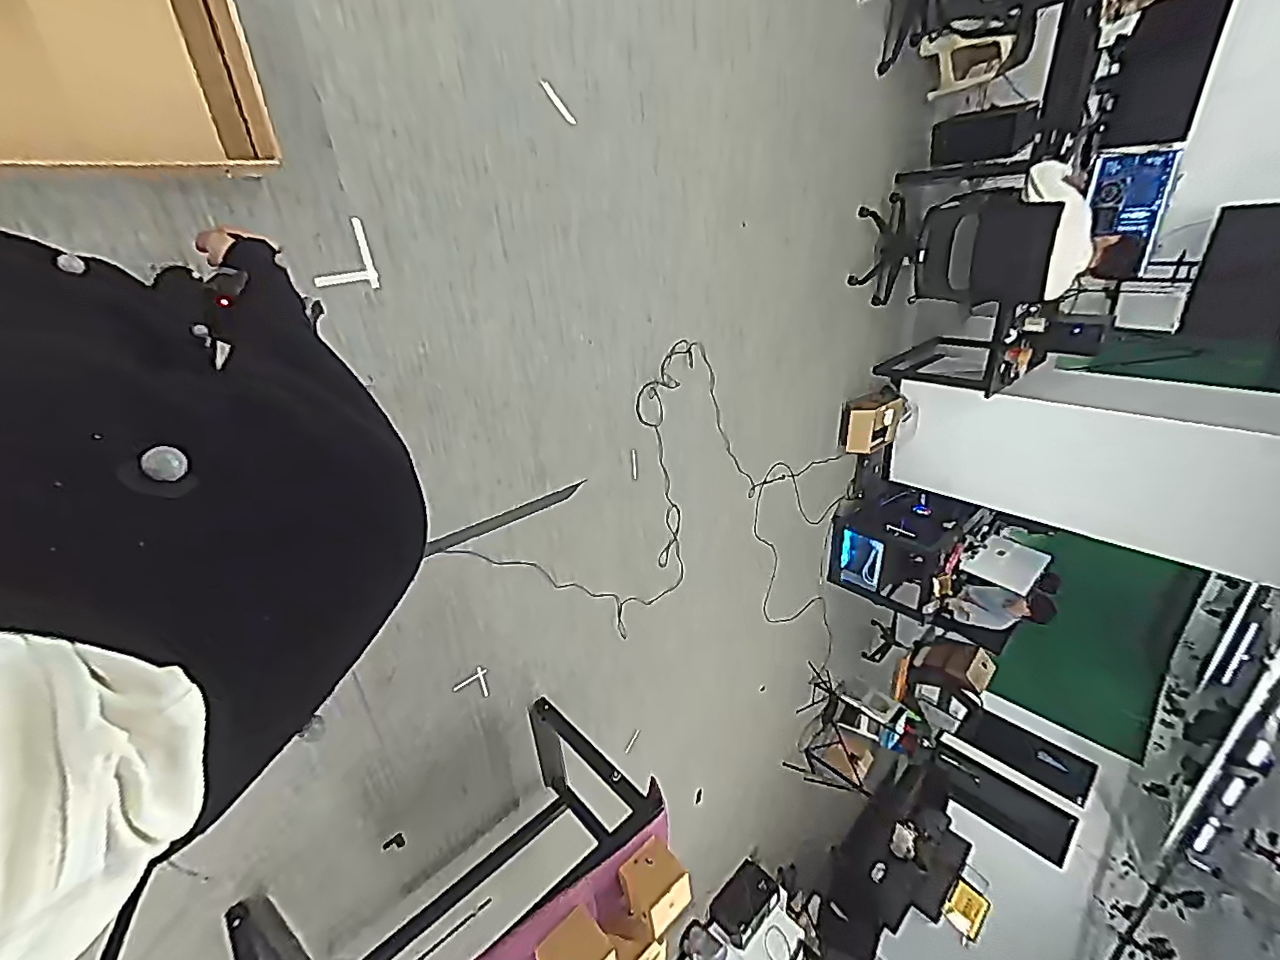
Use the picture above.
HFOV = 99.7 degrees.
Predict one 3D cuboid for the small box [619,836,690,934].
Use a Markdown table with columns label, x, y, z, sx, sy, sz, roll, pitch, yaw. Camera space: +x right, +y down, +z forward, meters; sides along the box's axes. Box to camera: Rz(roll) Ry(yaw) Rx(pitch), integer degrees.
| label | x | y | z | sx | sy | sz | roll | pitch | yaw |
| --- | --- | --- | --- | --- | --- | --- | --- | --- | --- |
| small box | 0.048 | 1.358 | 1.824 | 0.168 | 0.176 | 0.179 | -27 | 123 | -33 |

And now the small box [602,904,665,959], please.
| label | x | y | z | sx | sy | sz | roll | pitch | yaw |
| --- | --- | --- | --- | --- | --- | --- | --- | --- | --- |
| small box | -0.032 | 1.606 | 1.847 | 0.168 | 0.176 | 0.179 | -18 | 118 | -39 |

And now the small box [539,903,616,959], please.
| label | x | y | z | sx | sy | sz | roll | pitch | yaw |
| --- | --- | --- | --- | --- | --- | --- | --- | --- | --- |
| small box | -0.189 | 1.444 | 1.623 | 0.179 | 0.176 | 0.168 | -24 | 122 | -37 |
